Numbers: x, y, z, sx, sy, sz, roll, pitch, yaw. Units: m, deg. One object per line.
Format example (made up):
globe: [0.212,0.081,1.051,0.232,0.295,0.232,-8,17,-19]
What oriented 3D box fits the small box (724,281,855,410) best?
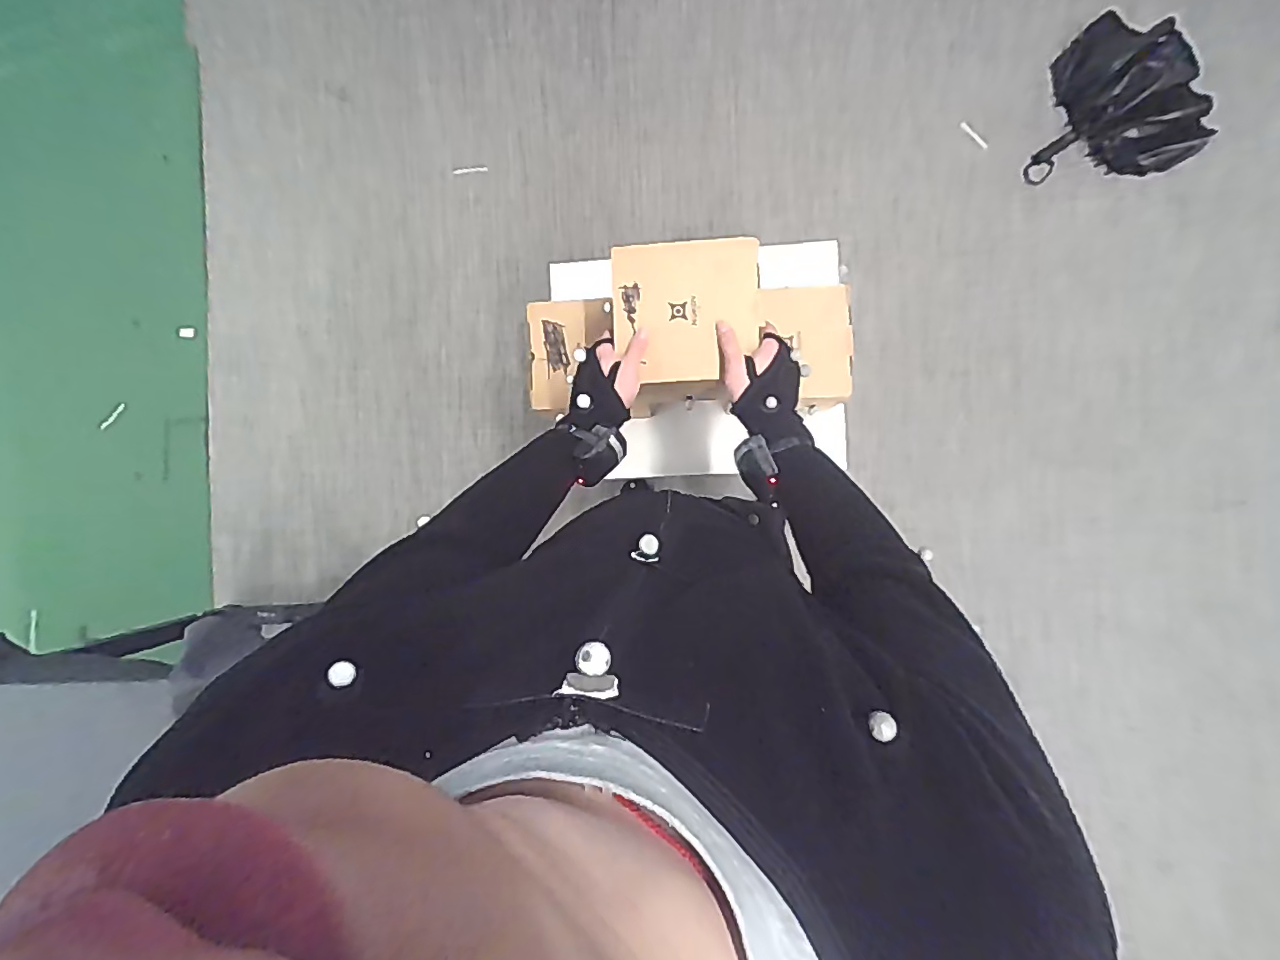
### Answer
small box: [0.227,-0.204,0.858,0.179,0.176,0.168,-1,90,6]

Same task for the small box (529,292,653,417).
small box: [-0.072,-0.196,0.882,0.179,0.176,0.168,-2,91,3]

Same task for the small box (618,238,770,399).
small box: [0.067,-0.200,0.709,0.179,0.176,0.168,-1,91,4]
